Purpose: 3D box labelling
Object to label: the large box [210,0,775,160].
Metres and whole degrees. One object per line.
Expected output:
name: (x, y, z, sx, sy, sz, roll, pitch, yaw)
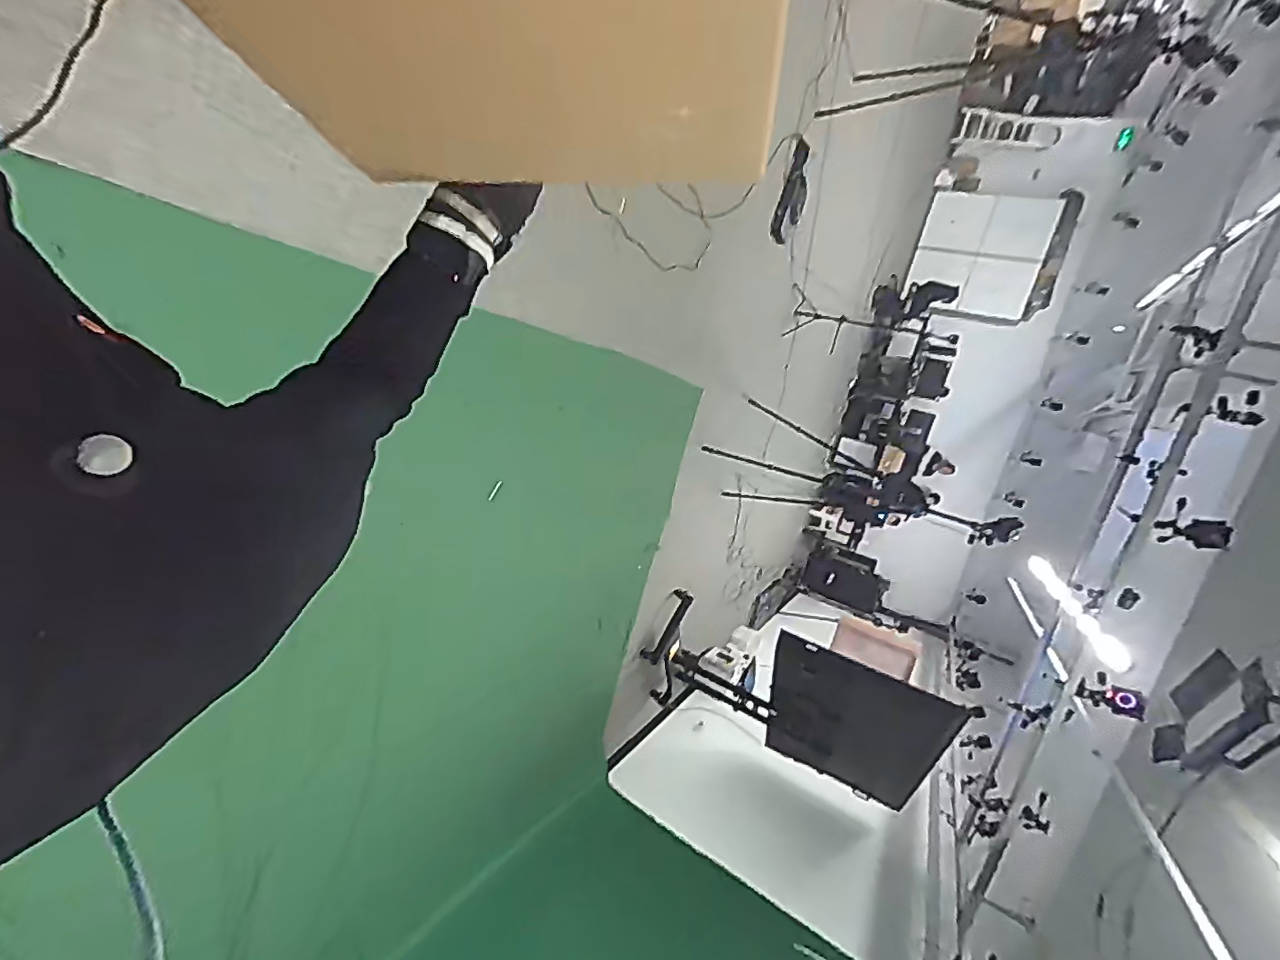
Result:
large box: (-0.082, -0.398, 0.221, 0.408, 0.320, 0.320, 17, 78, -83)
